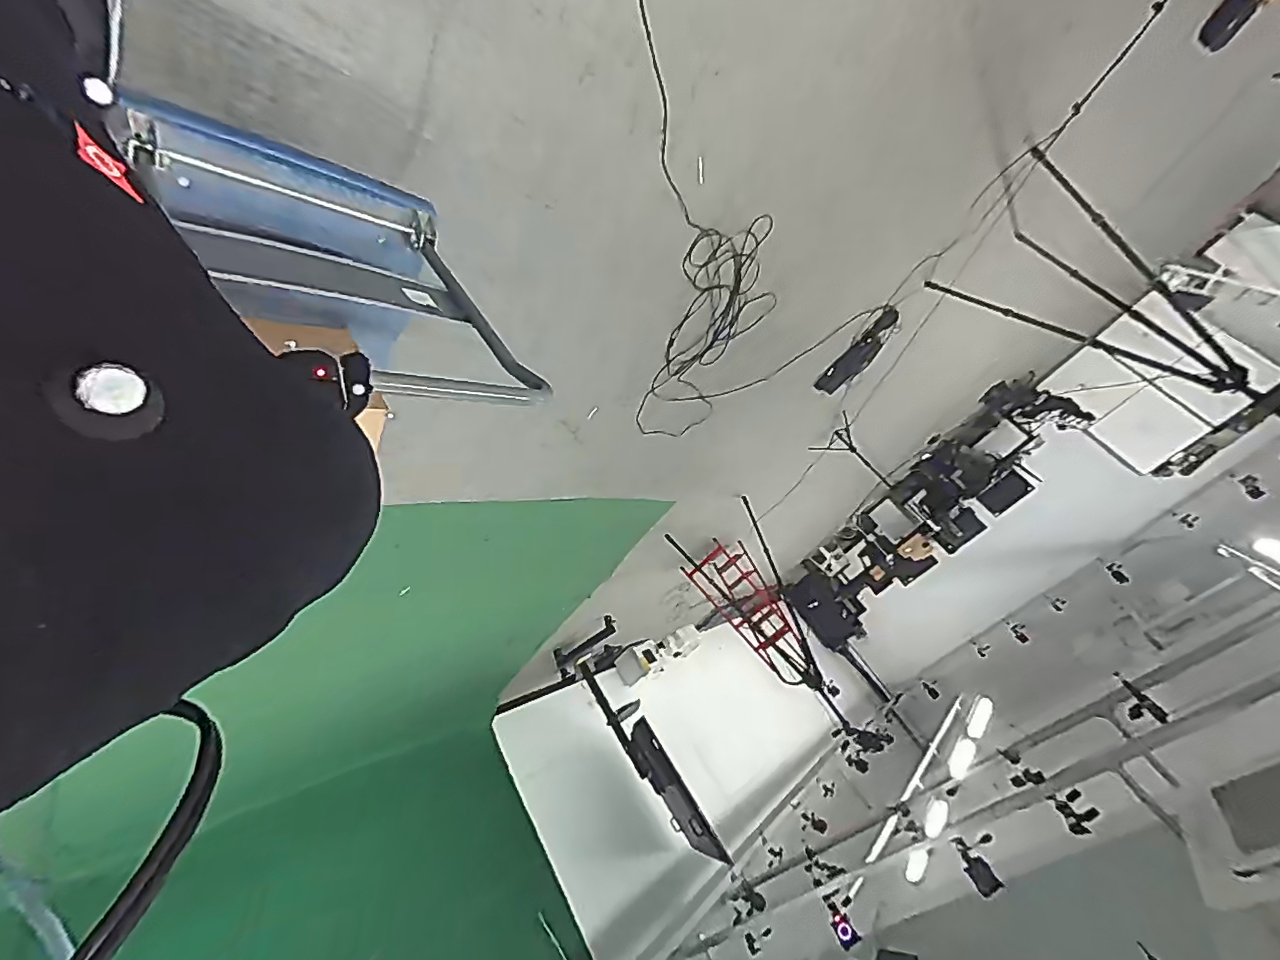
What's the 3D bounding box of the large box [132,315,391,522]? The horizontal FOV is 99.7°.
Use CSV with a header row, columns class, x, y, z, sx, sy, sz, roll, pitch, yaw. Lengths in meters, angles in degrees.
class,x,y,z,sx,sy,sz,roll,pitch,yaw
large box,-0.854,-0.146,1.230,0.408,0.320,0.320,-9,143,-46
